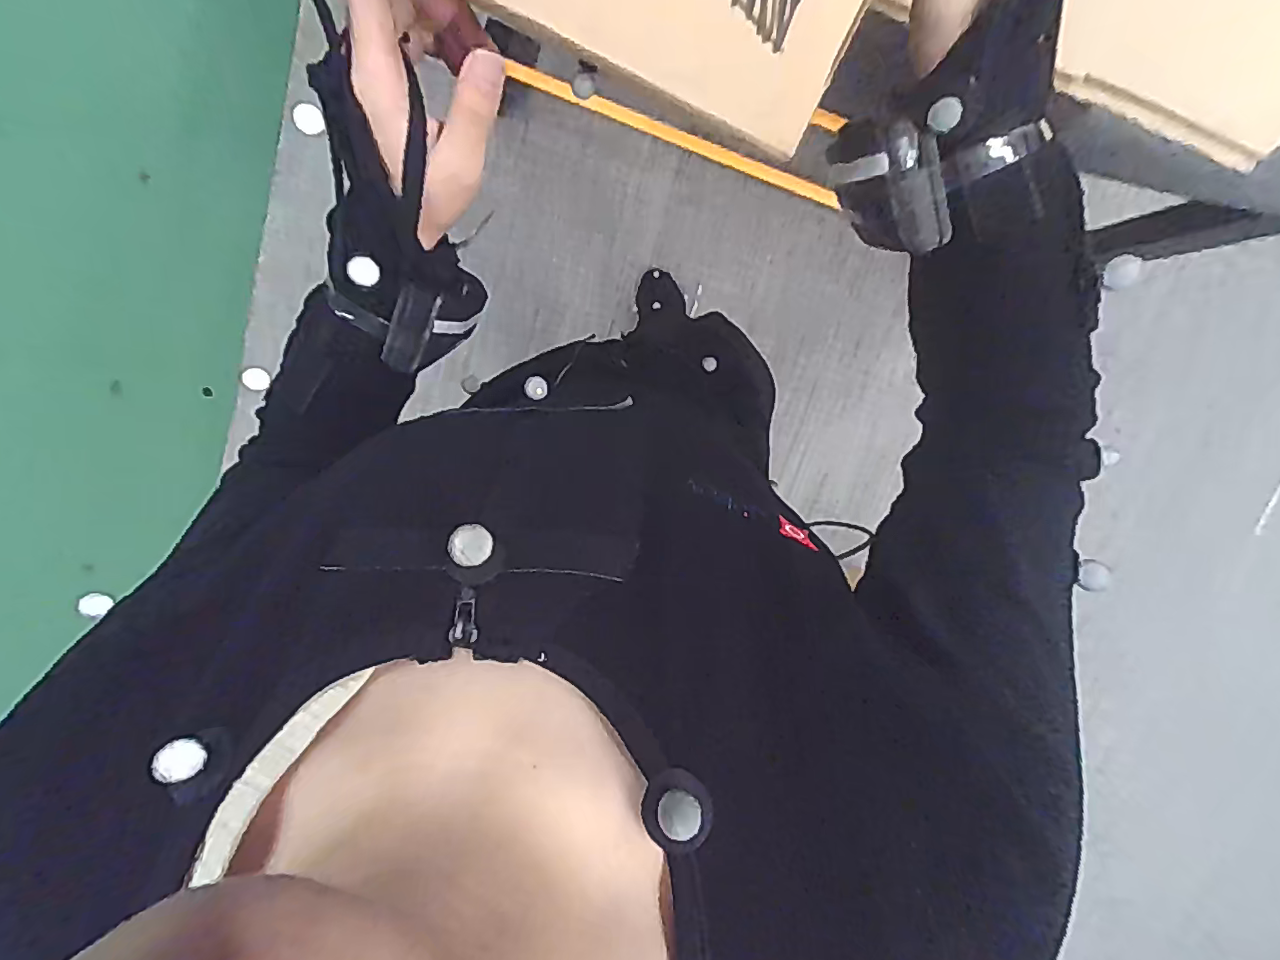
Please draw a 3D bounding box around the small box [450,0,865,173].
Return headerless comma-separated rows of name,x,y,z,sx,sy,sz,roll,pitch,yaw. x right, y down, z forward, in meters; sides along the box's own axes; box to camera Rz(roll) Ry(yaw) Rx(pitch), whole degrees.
small box,0.014,-0.266,0.235,0.179,0.176,0.168,21,122,-12
